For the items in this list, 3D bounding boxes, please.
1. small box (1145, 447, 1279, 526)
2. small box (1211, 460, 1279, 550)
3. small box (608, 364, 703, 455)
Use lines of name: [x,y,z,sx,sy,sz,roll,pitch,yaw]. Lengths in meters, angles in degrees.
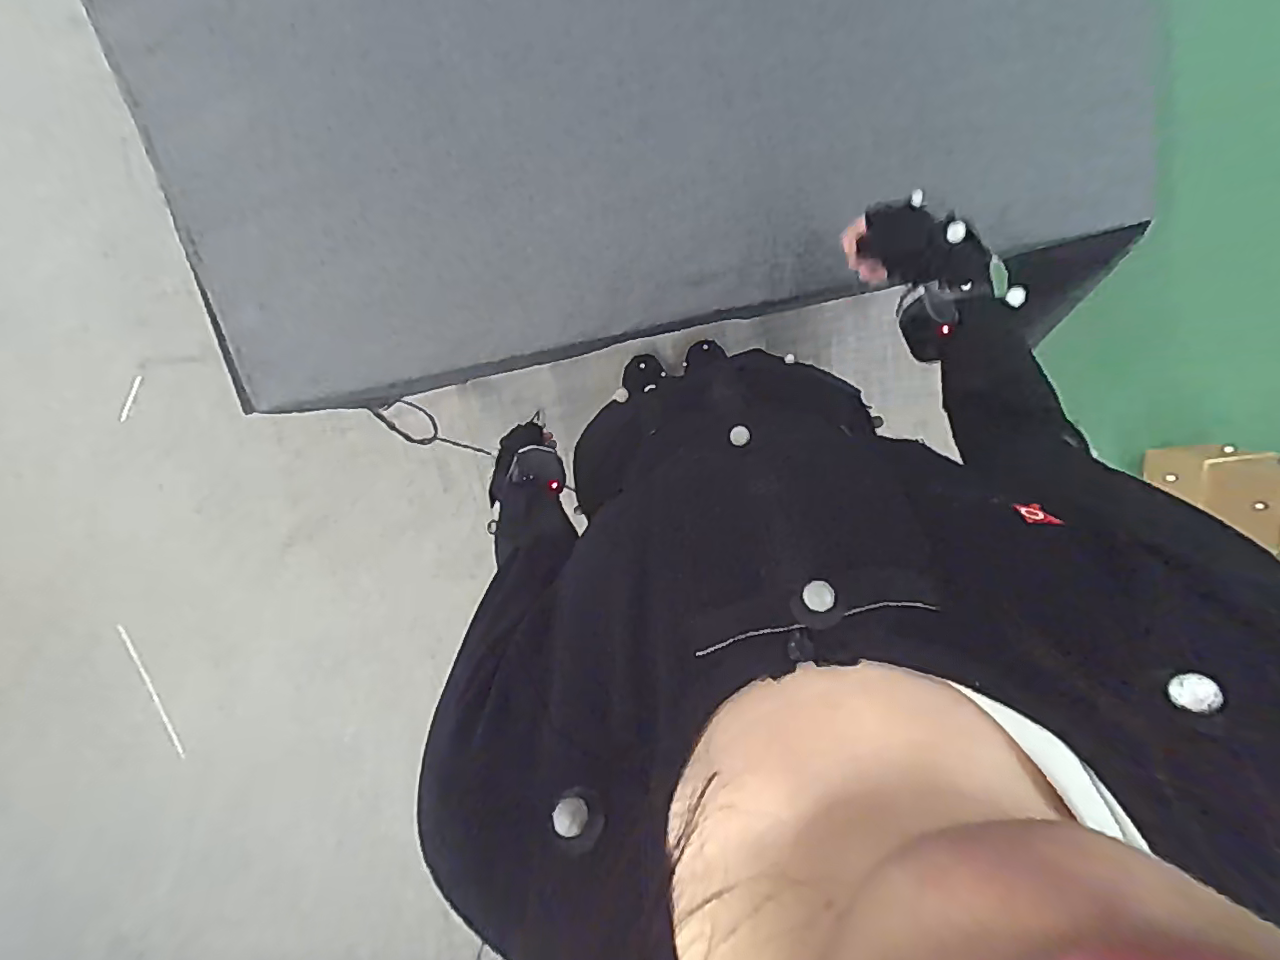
small box: [1.463,0.013,1.393,0.179,0.176,0.168,-6,102,2]
small box: [1.473,0.054,1.233,0.168,0.176,0.179,-7,102,2]
small box: [0.036,-0.186,1.388,0.179,0.176,0.168,30,114,11]
